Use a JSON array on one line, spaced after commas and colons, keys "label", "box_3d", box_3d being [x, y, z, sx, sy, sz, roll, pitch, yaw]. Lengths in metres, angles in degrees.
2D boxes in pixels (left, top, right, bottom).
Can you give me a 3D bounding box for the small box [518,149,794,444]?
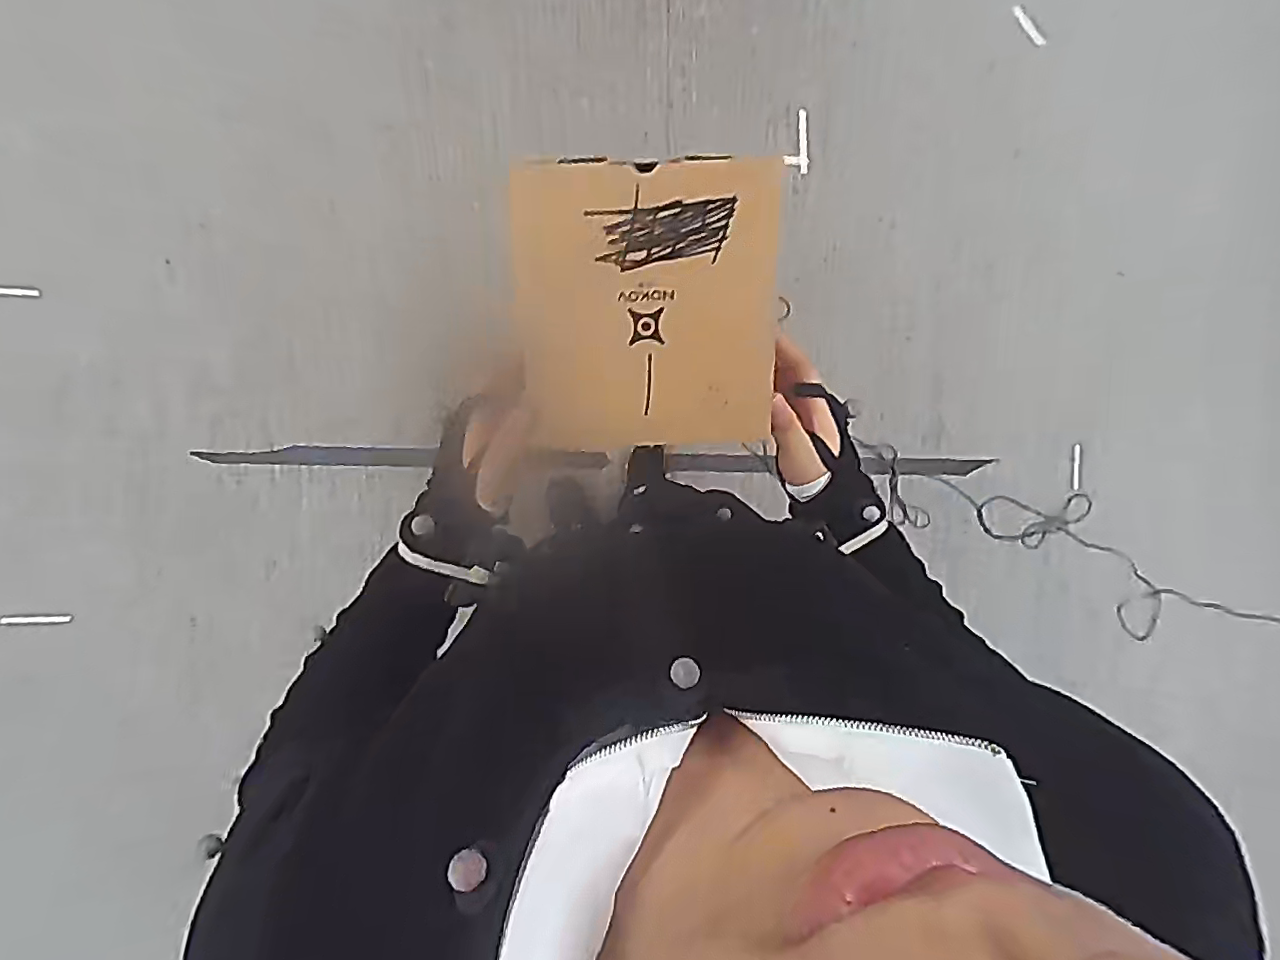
[{"label": "small box", "box_3d": [0.008, -0.131, 0.414, 0.168, 0.176, 0.179, -1, 108, 0]}]
